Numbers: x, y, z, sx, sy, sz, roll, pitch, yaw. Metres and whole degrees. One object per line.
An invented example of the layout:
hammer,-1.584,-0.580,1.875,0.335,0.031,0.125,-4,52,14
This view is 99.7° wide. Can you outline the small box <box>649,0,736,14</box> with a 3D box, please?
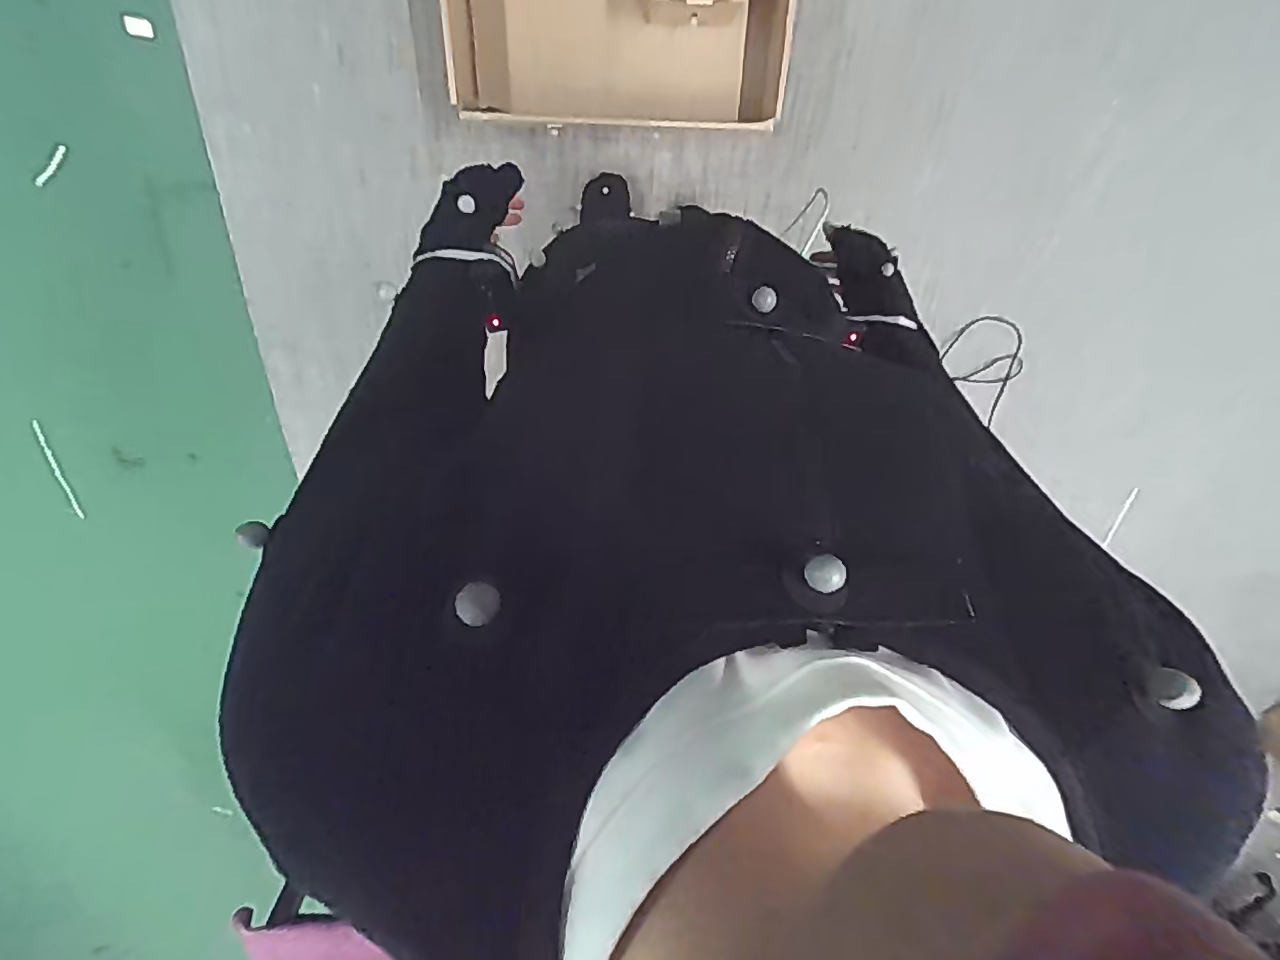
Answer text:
small box,0.096,-0.935,0.934,0.168,0.176,0.179,-2,118,1
